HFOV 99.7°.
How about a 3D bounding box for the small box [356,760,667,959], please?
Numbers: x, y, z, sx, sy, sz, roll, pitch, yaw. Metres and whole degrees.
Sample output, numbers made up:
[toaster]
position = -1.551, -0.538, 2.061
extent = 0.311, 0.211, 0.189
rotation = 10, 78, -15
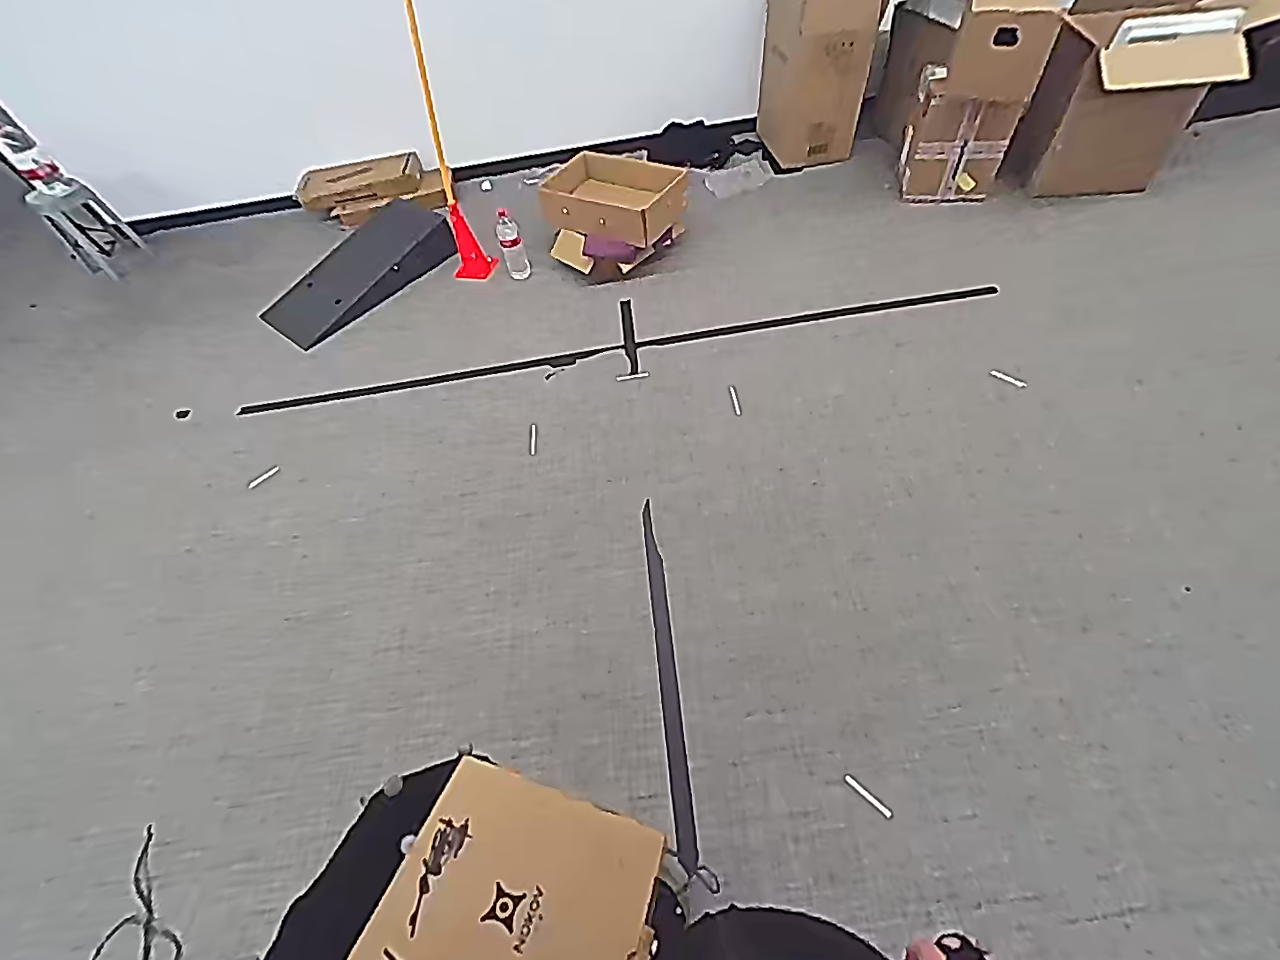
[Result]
[small box]
position = -0.095, 0.361, 0.417
extent = 0.179, 0.176, 0.168
rotation = 17, 36, 8
